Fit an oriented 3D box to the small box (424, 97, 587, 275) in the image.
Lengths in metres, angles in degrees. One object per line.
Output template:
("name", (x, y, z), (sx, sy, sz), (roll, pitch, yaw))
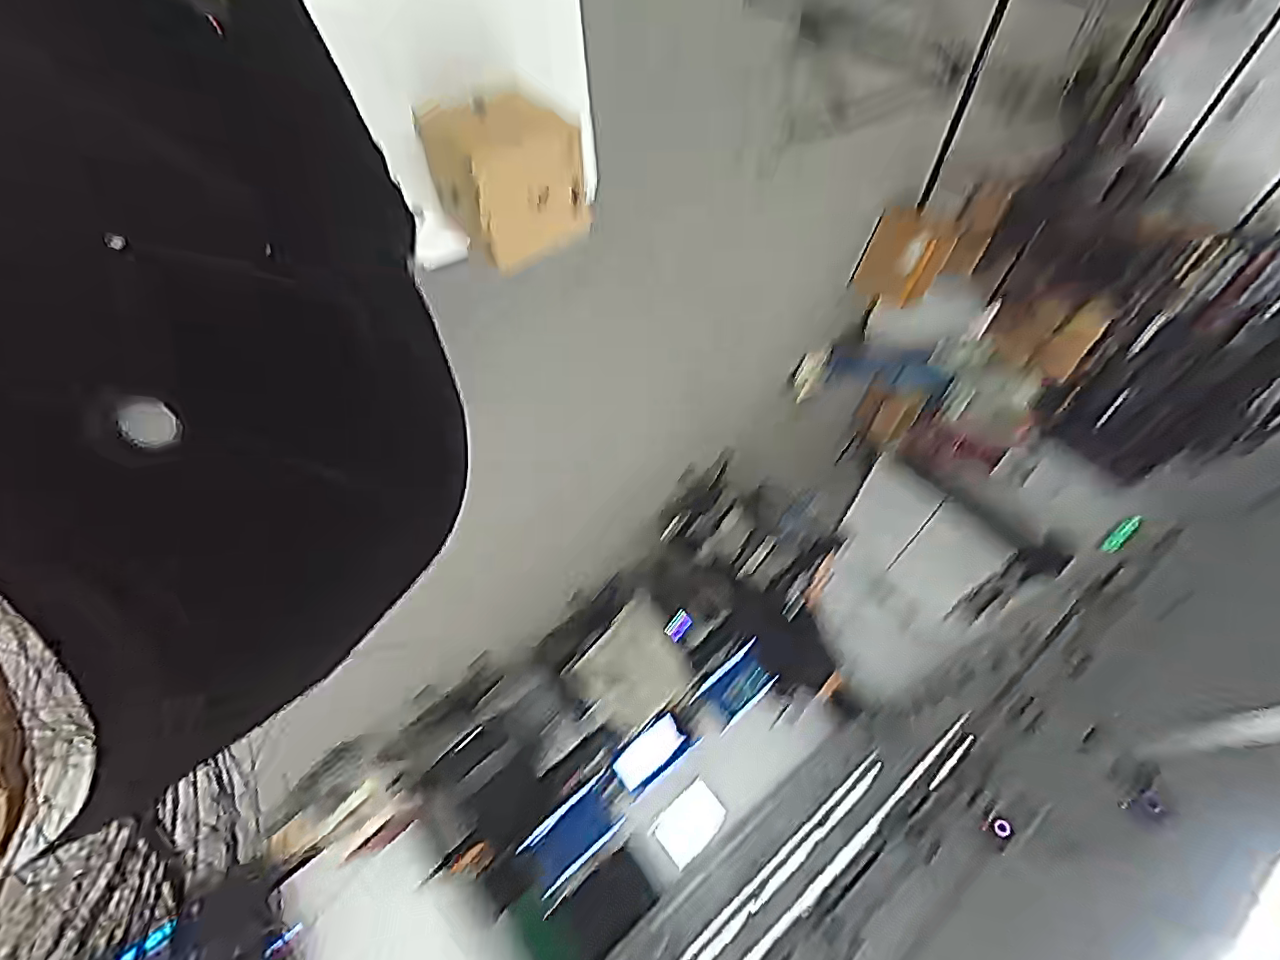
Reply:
("small box", (-0.203, -0.447, 0.819), (0.179, 0.176, 0.168), (-32, 150, -21))
